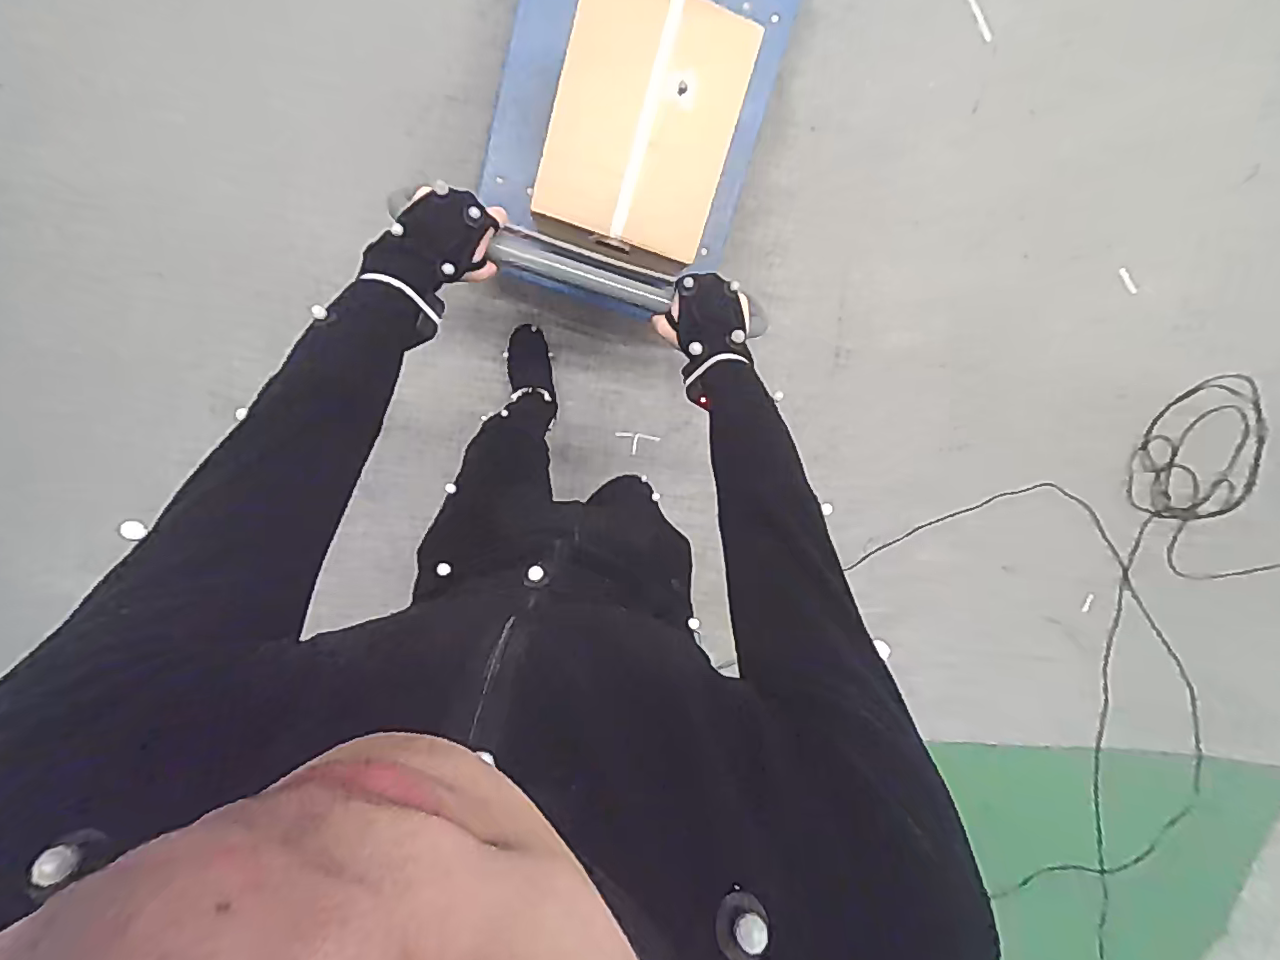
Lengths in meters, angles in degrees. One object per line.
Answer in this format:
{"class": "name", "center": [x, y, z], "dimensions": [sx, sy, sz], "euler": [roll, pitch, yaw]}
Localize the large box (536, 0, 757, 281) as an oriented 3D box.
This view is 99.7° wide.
{"class": "large box", "center": [-0.007, -0.663, 1.097], "dimensions": [0.320, 0.320, 0.408], "euler": [15, 101, -11]}
